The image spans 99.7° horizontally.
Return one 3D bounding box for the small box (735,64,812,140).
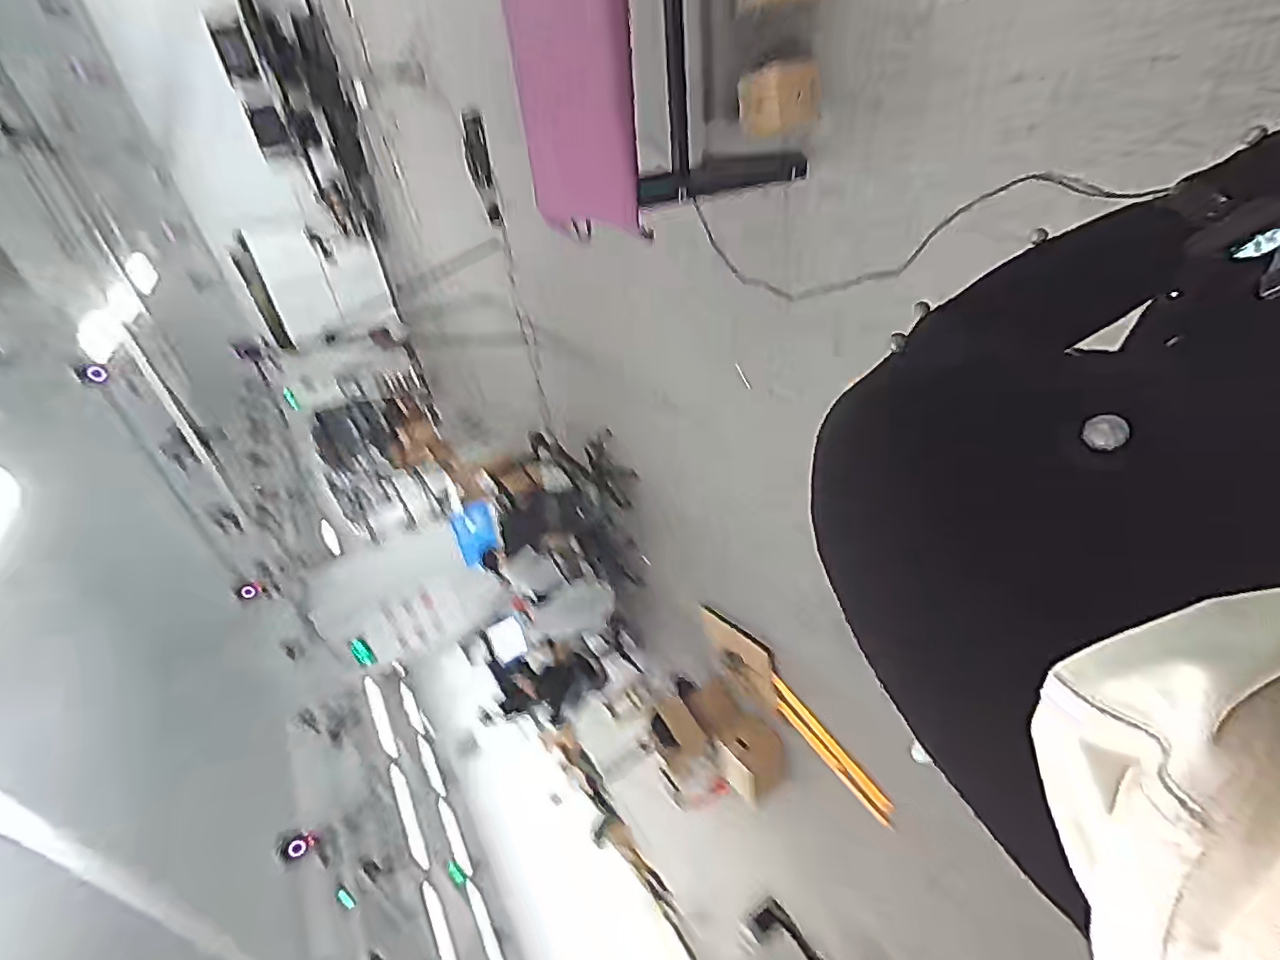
[{"bbox_3d":[0.423,-1.185,1.698,0.179,0.176,0.168,30,137,52],"label":"small box"}]
